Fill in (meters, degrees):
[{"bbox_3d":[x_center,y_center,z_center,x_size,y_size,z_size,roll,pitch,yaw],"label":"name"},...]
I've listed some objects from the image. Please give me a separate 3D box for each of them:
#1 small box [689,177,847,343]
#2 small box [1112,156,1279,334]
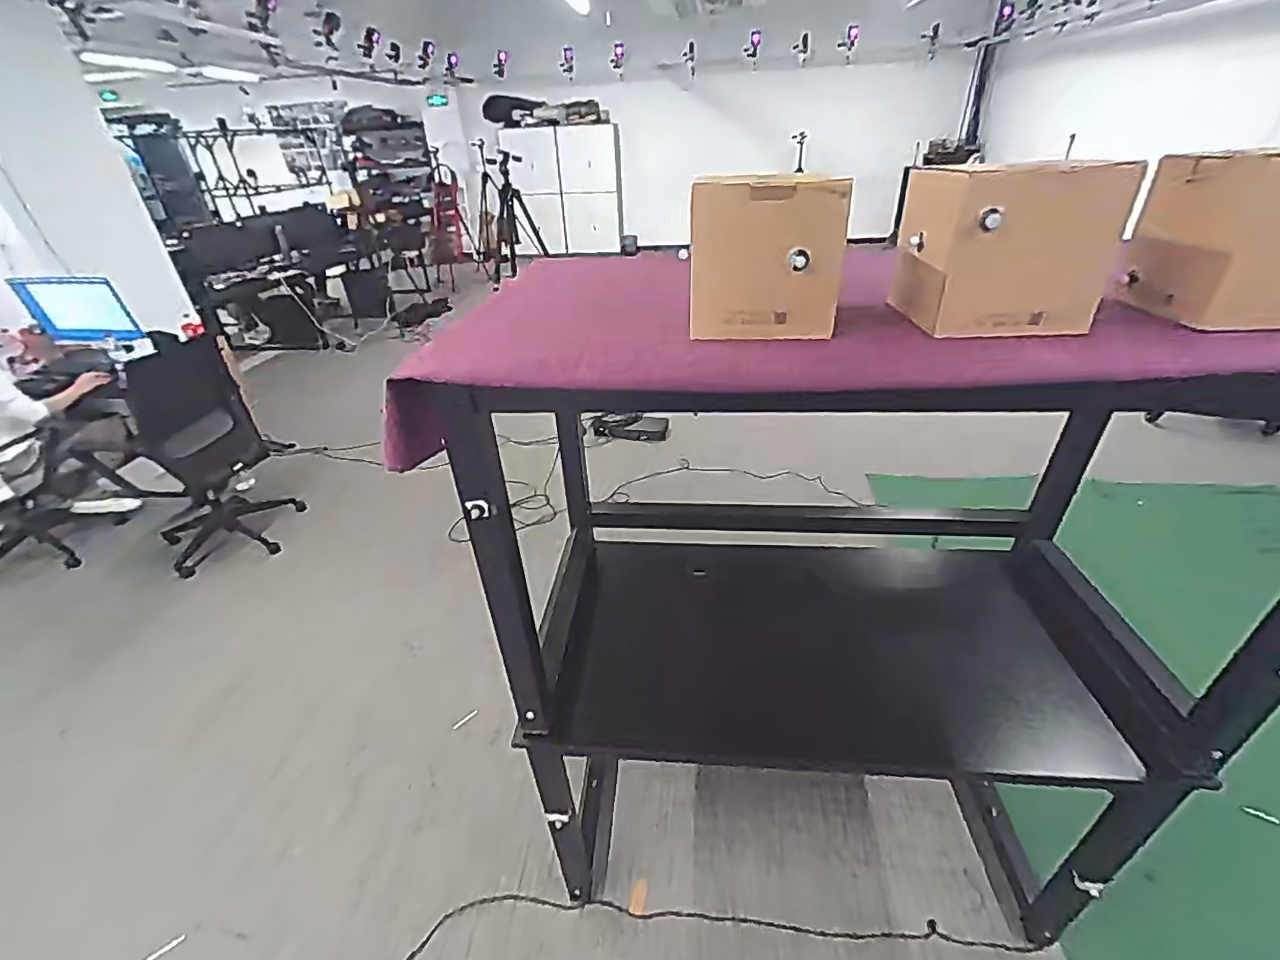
[{"bbox_3d":[0.147,-0.275,0.675,0.168,0.176,0.179,2,31,7],"label":"small box"},{"bbox_3d":[0.697,-0.270,0.621,0.179,0.176,0.168,1,32,6],"label":"small box"}]
